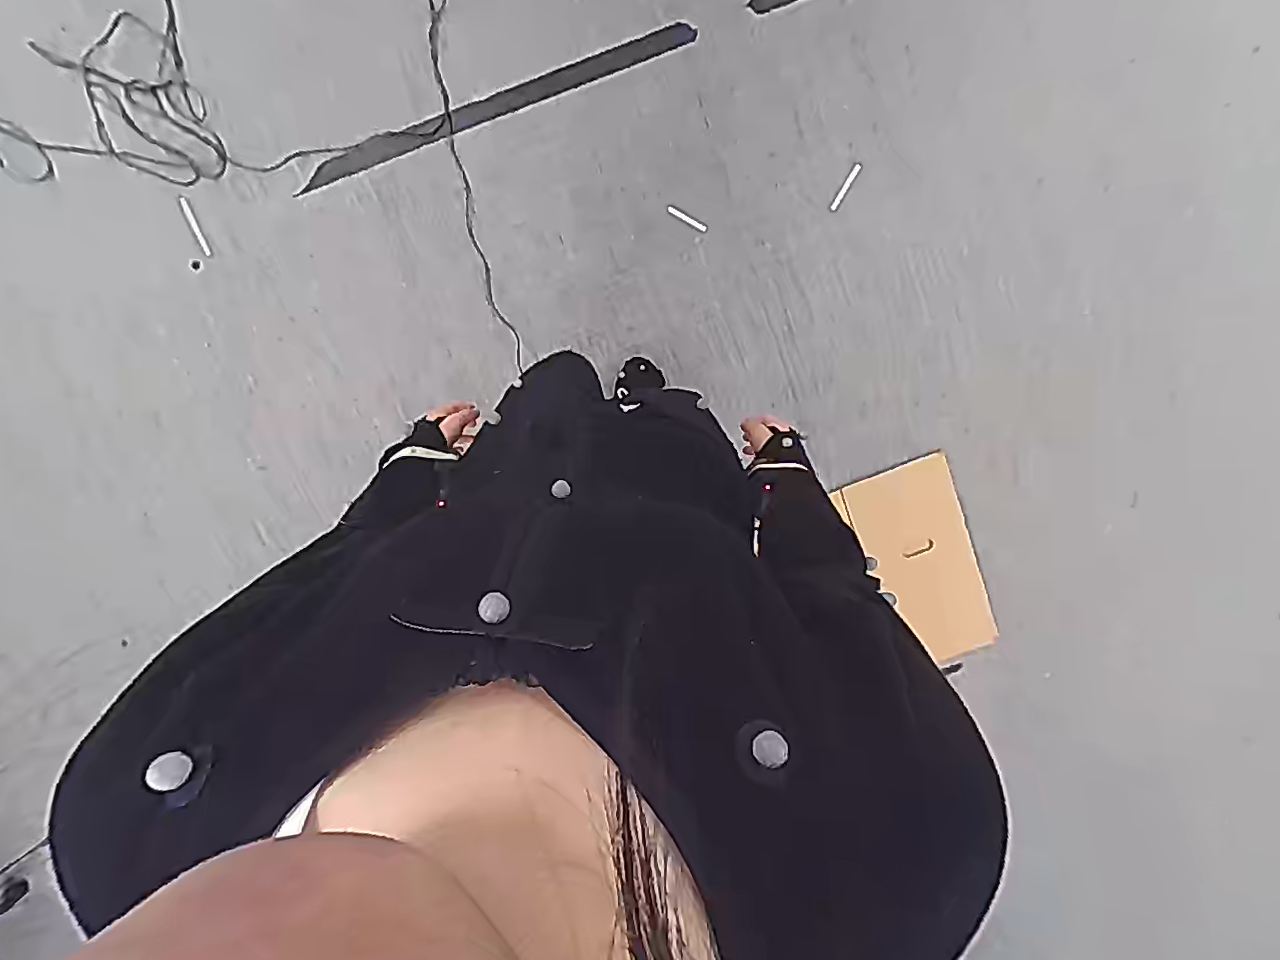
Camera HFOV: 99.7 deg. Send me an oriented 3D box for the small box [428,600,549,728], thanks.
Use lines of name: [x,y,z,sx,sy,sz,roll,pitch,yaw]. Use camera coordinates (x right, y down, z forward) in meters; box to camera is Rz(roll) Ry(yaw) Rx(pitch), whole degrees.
small box: [-0.314,0.385,1.163,0.179,0.176,0.168,29,99,-5]
